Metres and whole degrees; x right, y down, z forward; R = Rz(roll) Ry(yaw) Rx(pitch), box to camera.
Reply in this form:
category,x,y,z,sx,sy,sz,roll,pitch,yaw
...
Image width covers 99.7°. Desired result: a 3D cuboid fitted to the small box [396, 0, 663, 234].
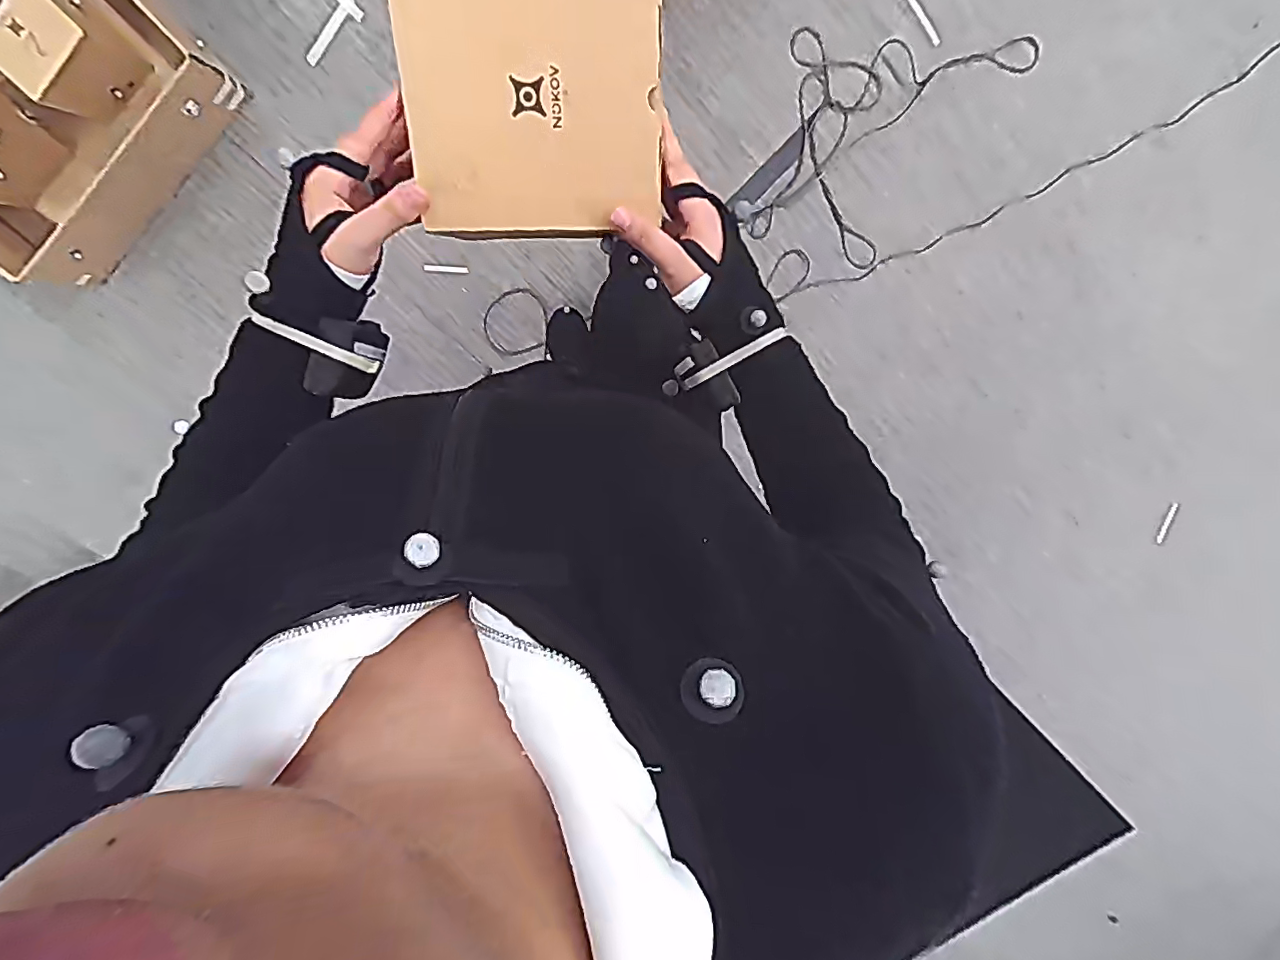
category,x,y,z,sx,sy,sz,roll,pitch,yaw
small box,-0.079,-0.297,0.445,0.179,0.176,0.168,-4,113,-6

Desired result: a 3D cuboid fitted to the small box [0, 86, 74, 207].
category,x,y,z,sx,sy,sz,roll,pitch,yaw
small box,-1.321,-0.679,1.083,0.179,0.176,0.168,-40,109,9
